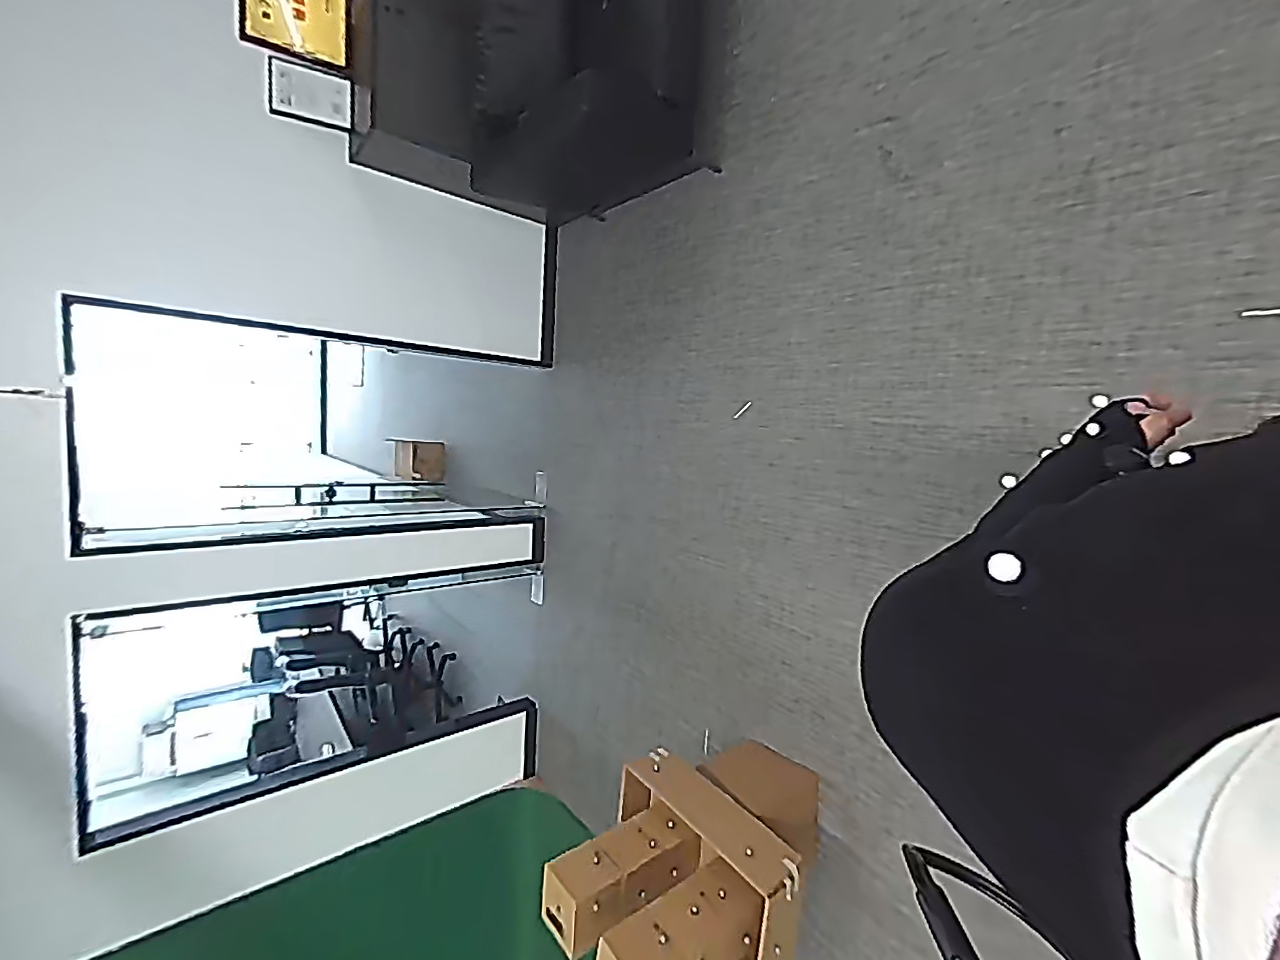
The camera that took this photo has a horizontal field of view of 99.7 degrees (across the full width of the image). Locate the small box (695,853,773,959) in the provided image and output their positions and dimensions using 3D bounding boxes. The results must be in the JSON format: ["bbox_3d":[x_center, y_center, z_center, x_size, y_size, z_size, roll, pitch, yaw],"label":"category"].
[{"bbox_3d":[0.266,1.244,1.568,0.168,0.176,0.179,17,104,49],"label":"small box"}]

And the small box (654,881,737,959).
[{"bbox_3d":[0.143,1.244,1.459,0.168,0.176,0.179,18,105,50],"label":"small box"}]

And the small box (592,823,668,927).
[{"bbox_3d":[-0.028,1.209,1.666,0.168,0.176,0.179,11,101,49],"label":"small box"}]

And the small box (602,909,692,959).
[{"bbox_3d":[0.016,1.247,1.357,0.168,0.176,0.179,19,105,48],"label":"small box"}]

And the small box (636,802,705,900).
[{"bbox_3d":[0.095,1.204,1.775,0.168,0.176,0.179,14,102,49],"label":"small box"}]
